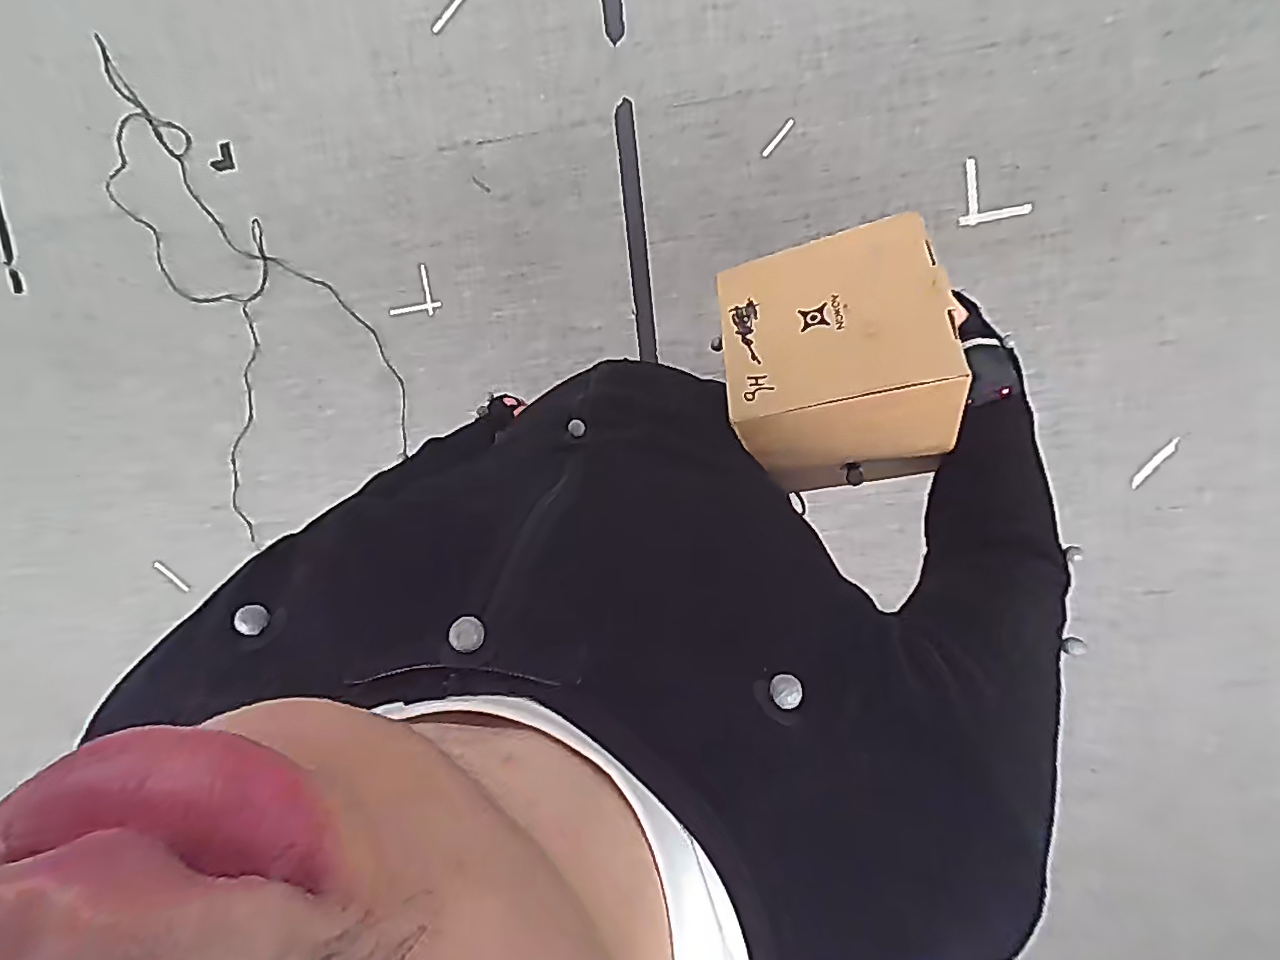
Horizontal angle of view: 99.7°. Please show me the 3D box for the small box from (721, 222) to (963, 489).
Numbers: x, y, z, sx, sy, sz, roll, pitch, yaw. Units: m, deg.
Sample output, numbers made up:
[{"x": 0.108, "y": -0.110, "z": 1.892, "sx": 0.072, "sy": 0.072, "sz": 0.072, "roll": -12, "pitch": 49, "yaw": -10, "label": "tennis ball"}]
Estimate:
[{"x": 0.187, "y": -0.104, "z": 0.526, "sx": 0.179, "sy": 0.176, "sz": 0.168, "roll": -10, "pitch": 63, "yaw": 20, "label": "small box"}]
